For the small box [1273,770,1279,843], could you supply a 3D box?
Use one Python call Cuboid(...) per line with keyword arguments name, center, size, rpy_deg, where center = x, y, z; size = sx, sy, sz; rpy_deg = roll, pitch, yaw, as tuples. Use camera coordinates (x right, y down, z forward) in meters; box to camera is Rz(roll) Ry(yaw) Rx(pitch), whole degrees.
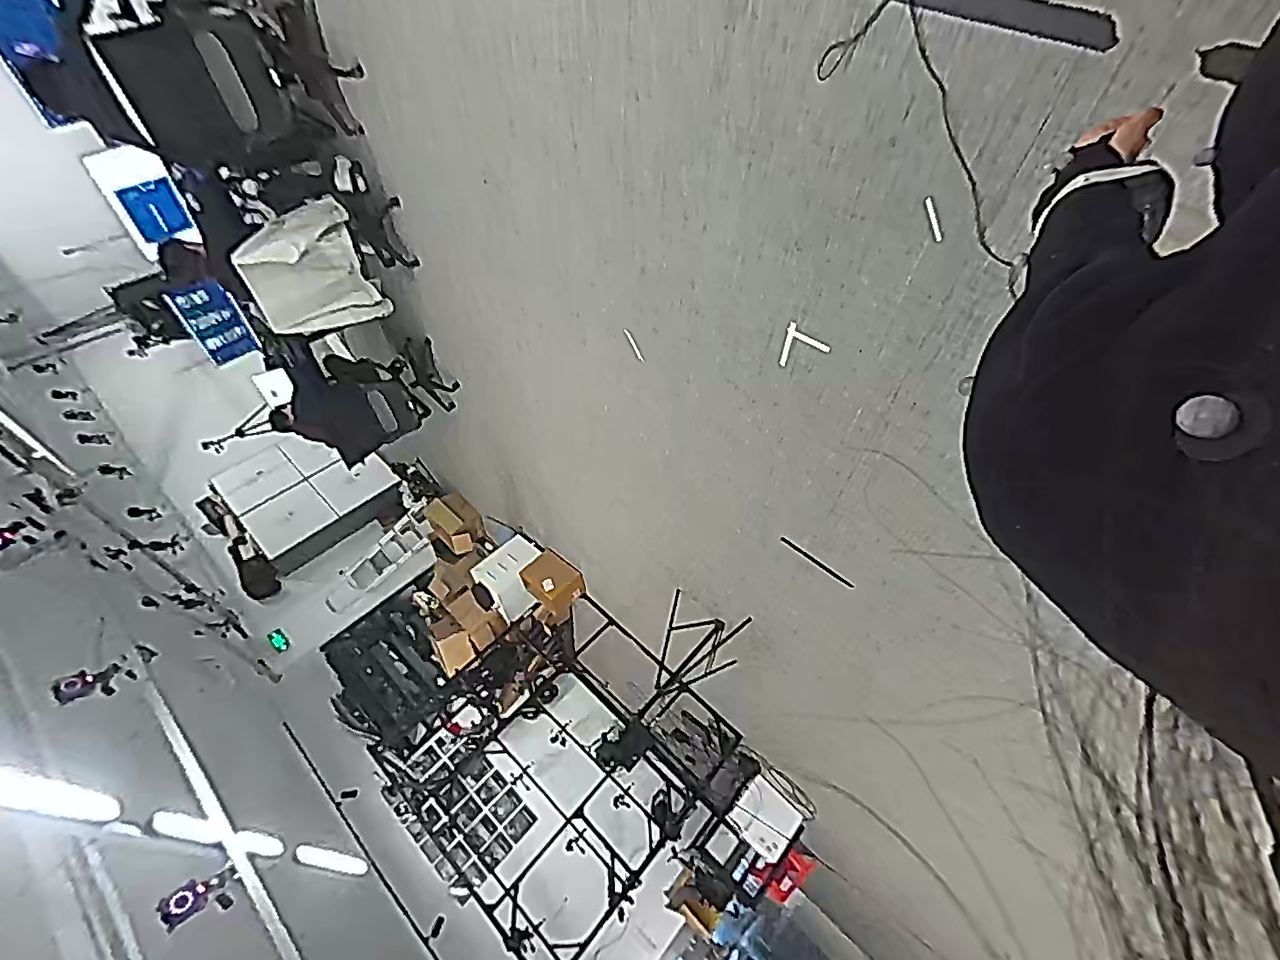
Cuboid(name="small box", center=(1.785, 0.865, 1.407), size=(0.168, 0.176, 0.179), rpy_deg=(6, 130, 53))
